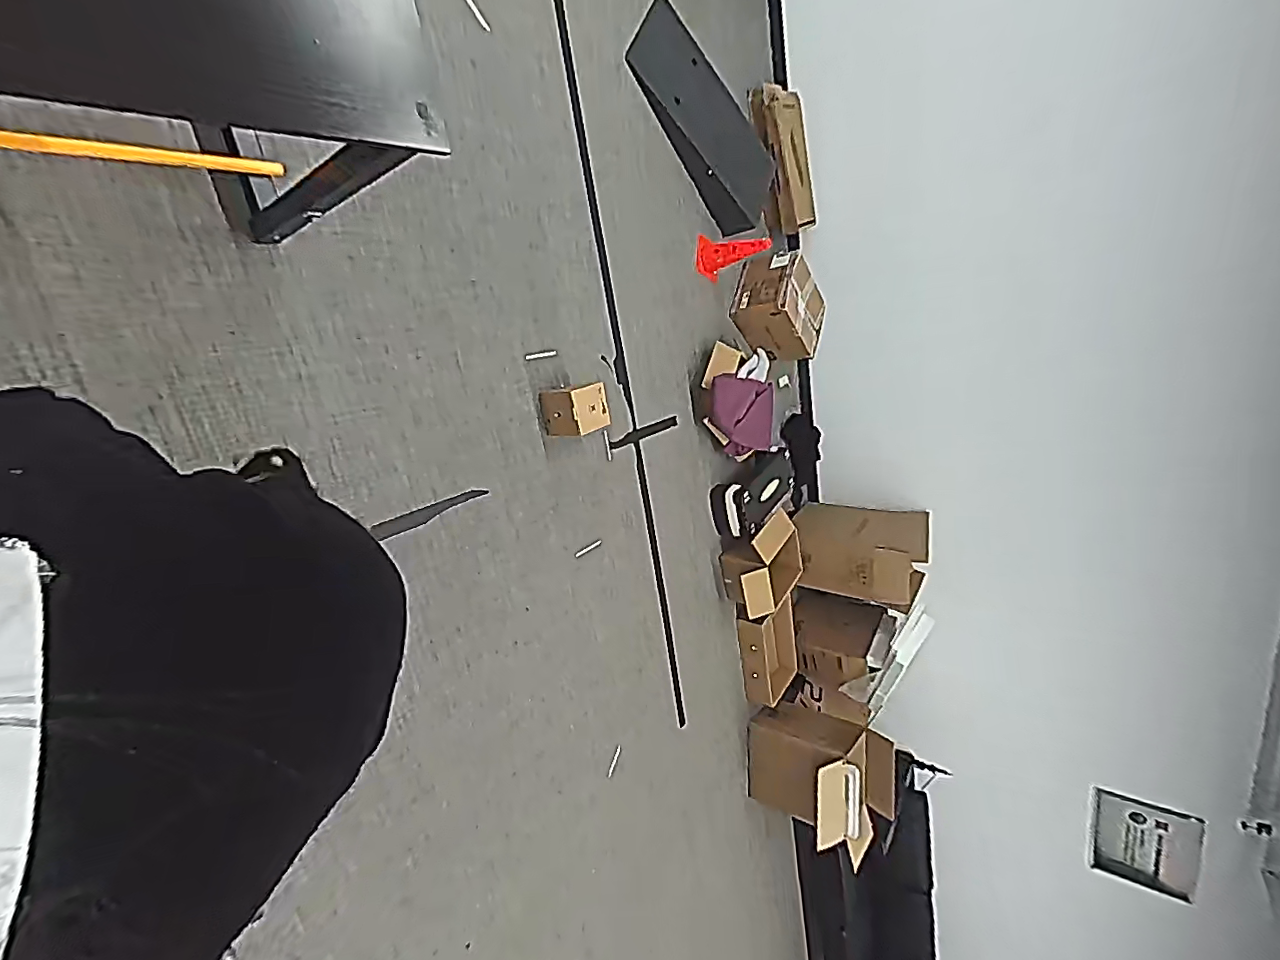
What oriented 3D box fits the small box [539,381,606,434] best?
[{"bbox_3d":[-0.259,-0.270,2.025,0.179,0.176,0.168,-28,114,-47],"label":"small box"}]
